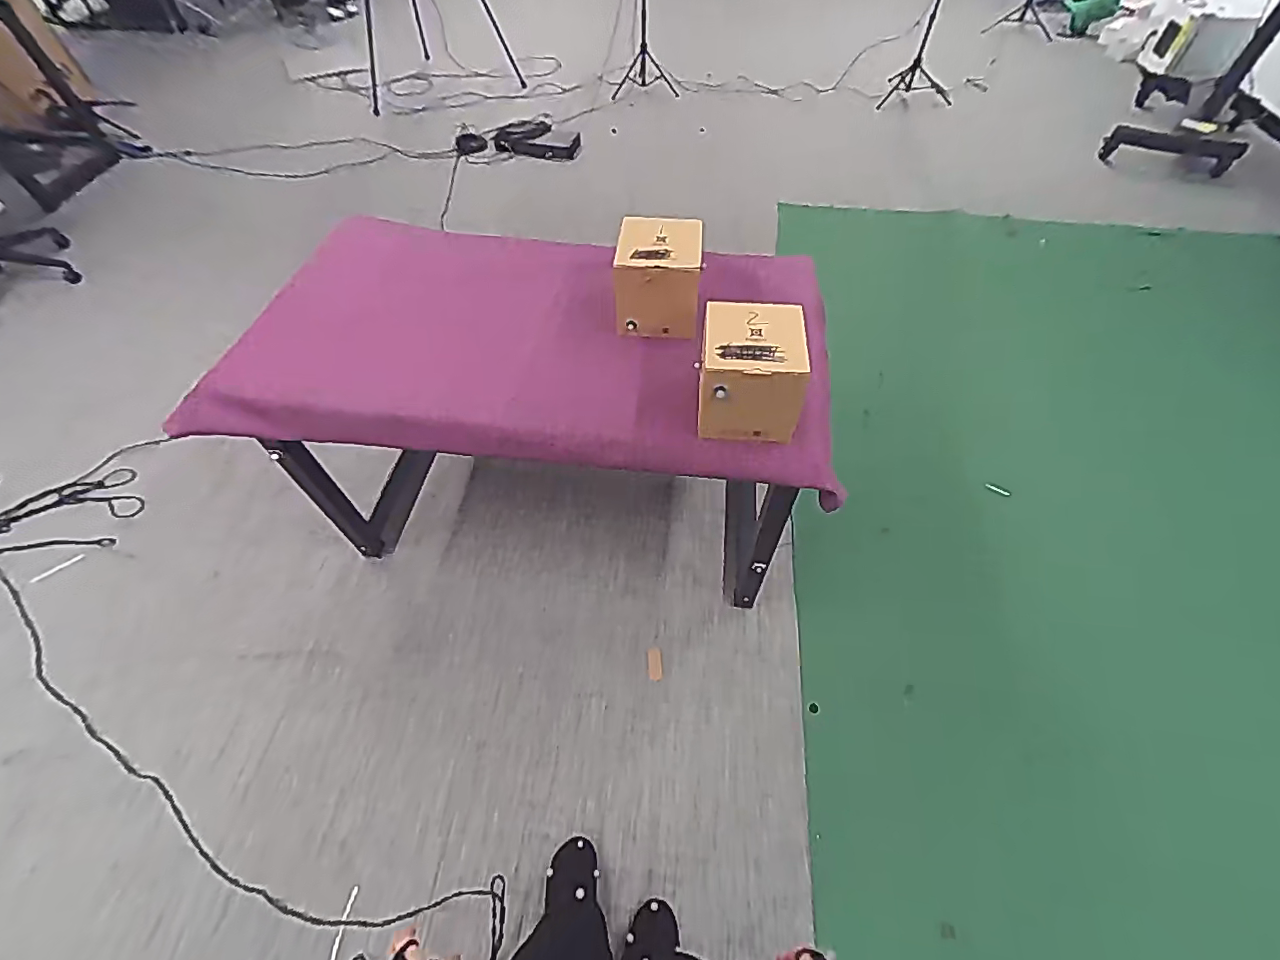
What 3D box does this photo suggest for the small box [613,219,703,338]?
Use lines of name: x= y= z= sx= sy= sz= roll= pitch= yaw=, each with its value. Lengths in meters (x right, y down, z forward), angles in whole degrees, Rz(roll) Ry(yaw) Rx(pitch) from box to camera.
small box: x=0.040 y=-0.415 z=1.123 sx=0.168 sy=0.176 sz=0.179 roll=5 pitch=54 yaw=3
